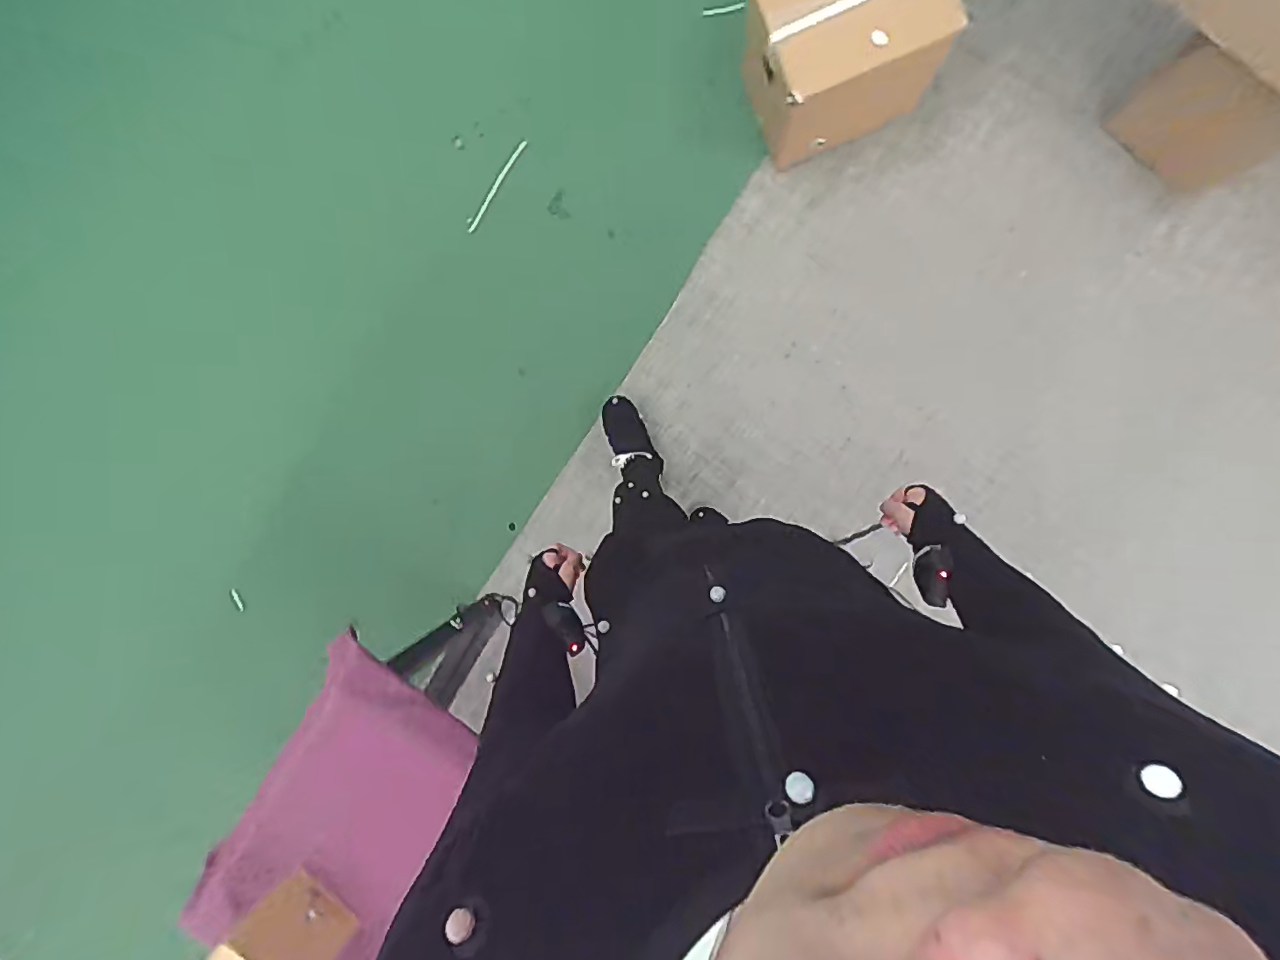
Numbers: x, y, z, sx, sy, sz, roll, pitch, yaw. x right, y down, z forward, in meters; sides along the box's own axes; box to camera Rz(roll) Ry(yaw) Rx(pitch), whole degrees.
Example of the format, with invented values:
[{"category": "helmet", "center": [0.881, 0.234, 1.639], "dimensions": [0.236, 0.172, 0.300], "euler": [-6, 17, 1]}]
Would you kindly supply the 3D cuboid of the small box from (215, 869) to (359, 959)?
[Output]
[{"category": "small box", "center": [-0.641, 0.851, 0.950], "dimensions": [0.168, 0.176, 0.179], "euler": [39, 96, 2]}]
